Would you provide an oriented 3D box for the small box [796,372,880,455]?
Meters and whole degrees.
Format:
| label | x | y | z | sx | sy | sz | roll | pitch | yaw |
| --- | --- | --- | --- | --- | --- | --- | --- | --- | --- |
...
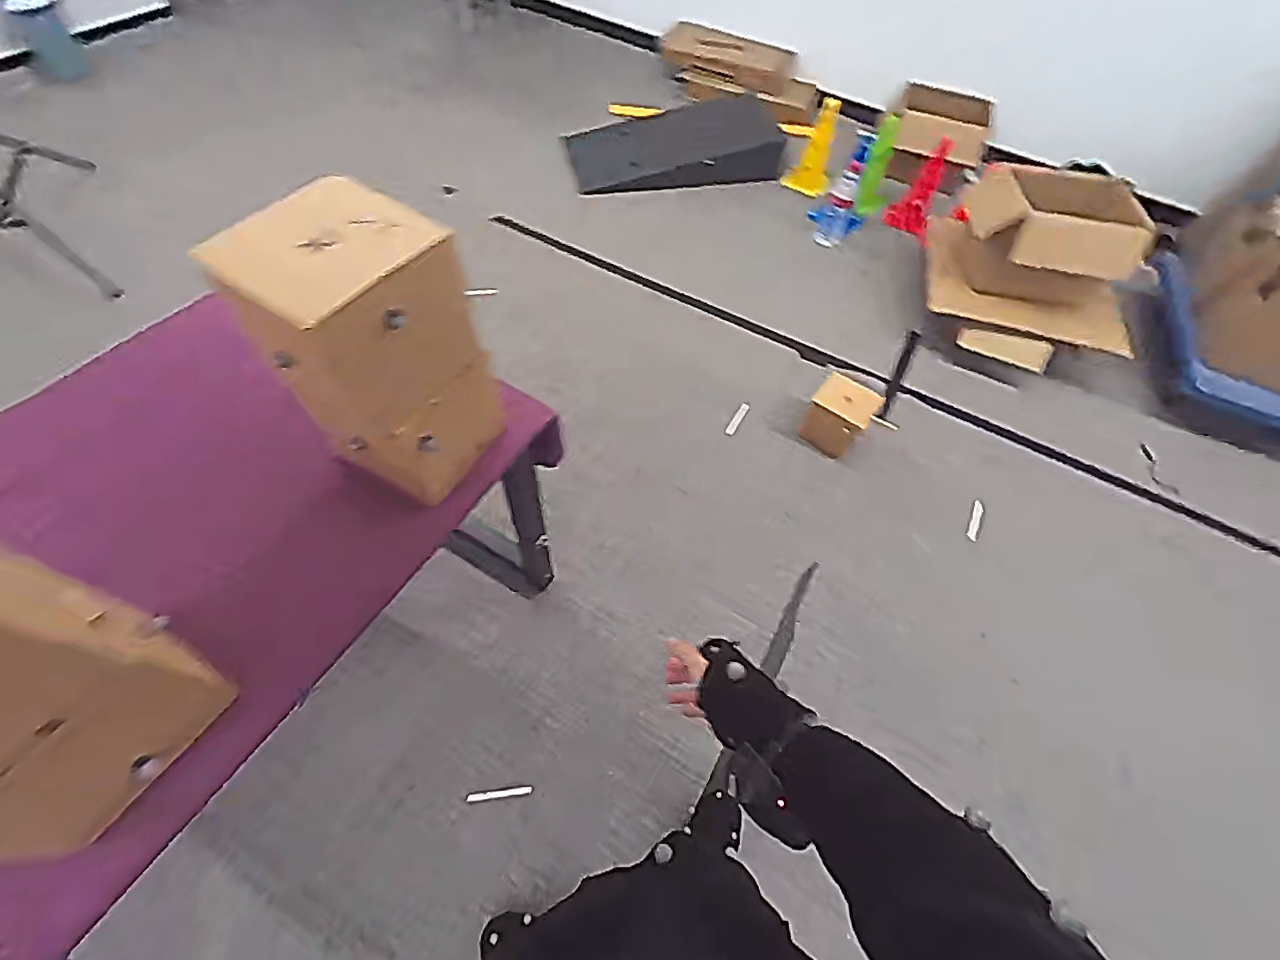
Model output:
| label | x | y | z | sx | sy | sz | roll | pitch | yaw |
| --- | --- | --- | --- | --- | --- | --- | --- | --- | --- |
| small box | 0.632 | -0.210 | 1.750 | 0.179 | 0.176 | 0.168 | 33 | 61 | 14 |

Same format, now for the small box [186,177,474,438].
| label | x | y | z | sx | sy | sz | roll | pitch | yaw |
| --- | --- | --- | --- | --- | --- | --- | --- | --- | --- |
| small box | -0.303 | -0.177 | 0.576 | 0.168 | 0.176 | 0.179 | 30 | 61 | 13 |

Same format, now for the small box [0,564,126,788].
| label | x | y | z | sx | sy | sz | roll | pitch | yaw |
| --- | --- | --- | --- | --- | --- | --- | --- | --- | --- |
| small box | -0.523 | 0.135 | 0.361 | 0.179 | 0.176 | 0.168 | 29 | 60 | 13 |

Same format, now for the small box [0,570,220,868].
| label | x | y | z | sx | sy | sz | roll | pitch | yaw |
| --- | --- | --- | --- | --- | --- | --- | --- | --- | --- |
| small box | -0.543 | 0.221 | 0.501 | 0.168 | 0.176 | 0.179 | 29 | 60 | 12 |
